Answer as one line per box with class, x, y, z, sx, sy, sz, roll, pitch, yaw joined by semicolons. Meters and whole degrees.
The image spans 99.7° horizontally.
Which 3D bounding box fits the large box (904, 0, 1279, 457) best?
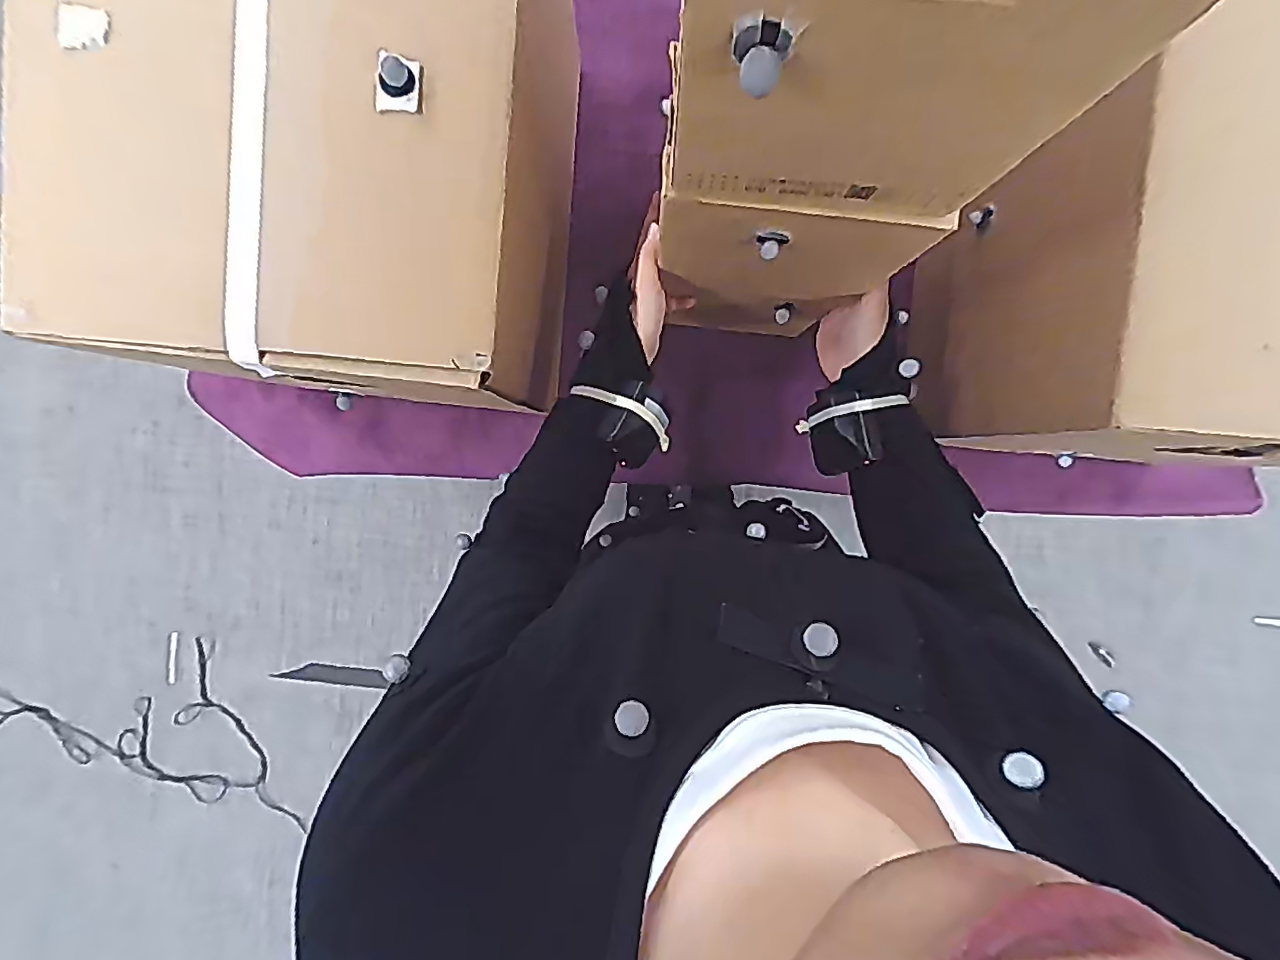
large box;0.466;-0.228;0.478;0.320;0.320;0.408;5;92;0
